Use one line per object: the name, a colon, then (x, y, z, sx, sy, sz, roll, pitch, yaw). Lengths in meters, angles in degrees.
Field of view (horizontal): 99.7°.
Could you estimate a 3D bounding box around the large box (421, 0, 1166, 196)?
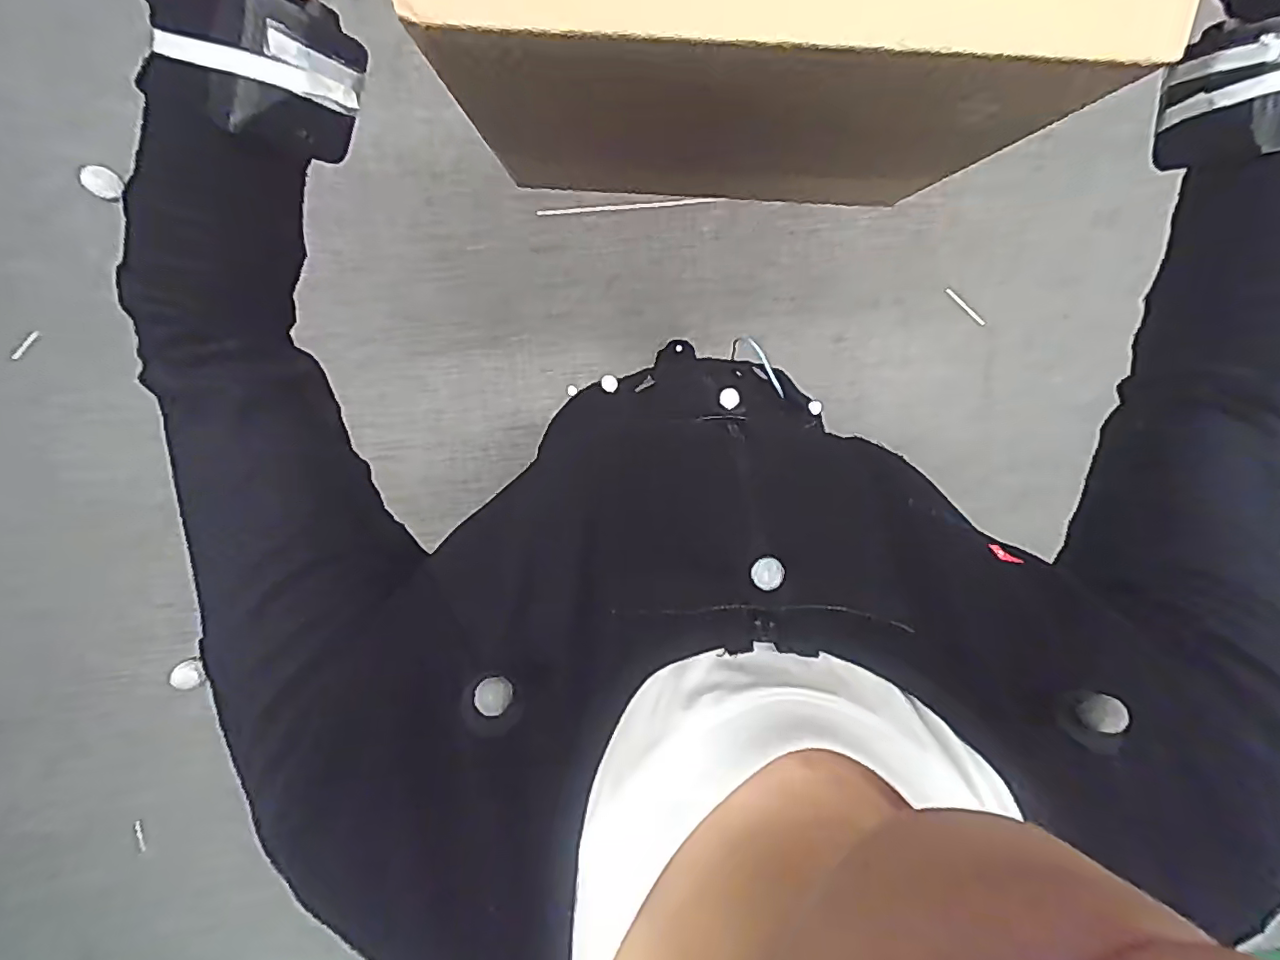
large box: (0.080, -0.416, 0.396, 0.408, 0.320, 0.320, 1, 105, -2)
